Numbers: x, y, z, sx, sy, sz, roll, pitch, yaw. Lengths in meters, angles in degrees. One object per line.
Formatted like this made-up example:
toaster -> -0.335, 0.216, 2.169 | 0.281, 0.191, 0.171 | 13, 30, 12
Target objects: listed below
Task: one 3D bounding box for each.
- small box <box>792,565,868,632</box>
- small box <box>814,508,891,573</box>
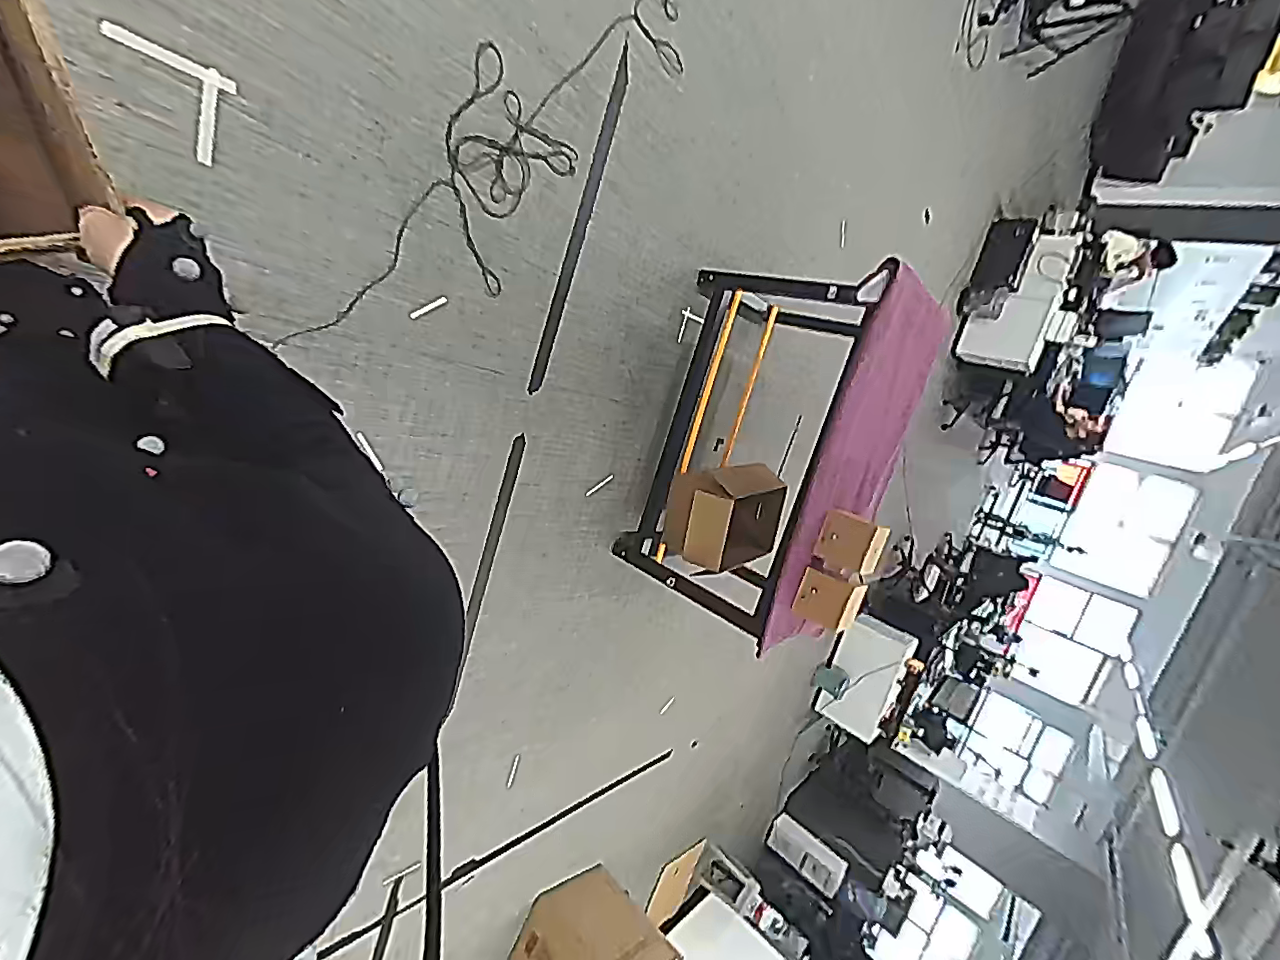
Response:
small box -> 0.655, 0.401, 1.864 | 0.179, 0.176, 0.168 | 11, 101, -52
small box -> 0.717, 0.202, 1.828 | 0.179, 0.176, 0.168 | 11, 101, -52
